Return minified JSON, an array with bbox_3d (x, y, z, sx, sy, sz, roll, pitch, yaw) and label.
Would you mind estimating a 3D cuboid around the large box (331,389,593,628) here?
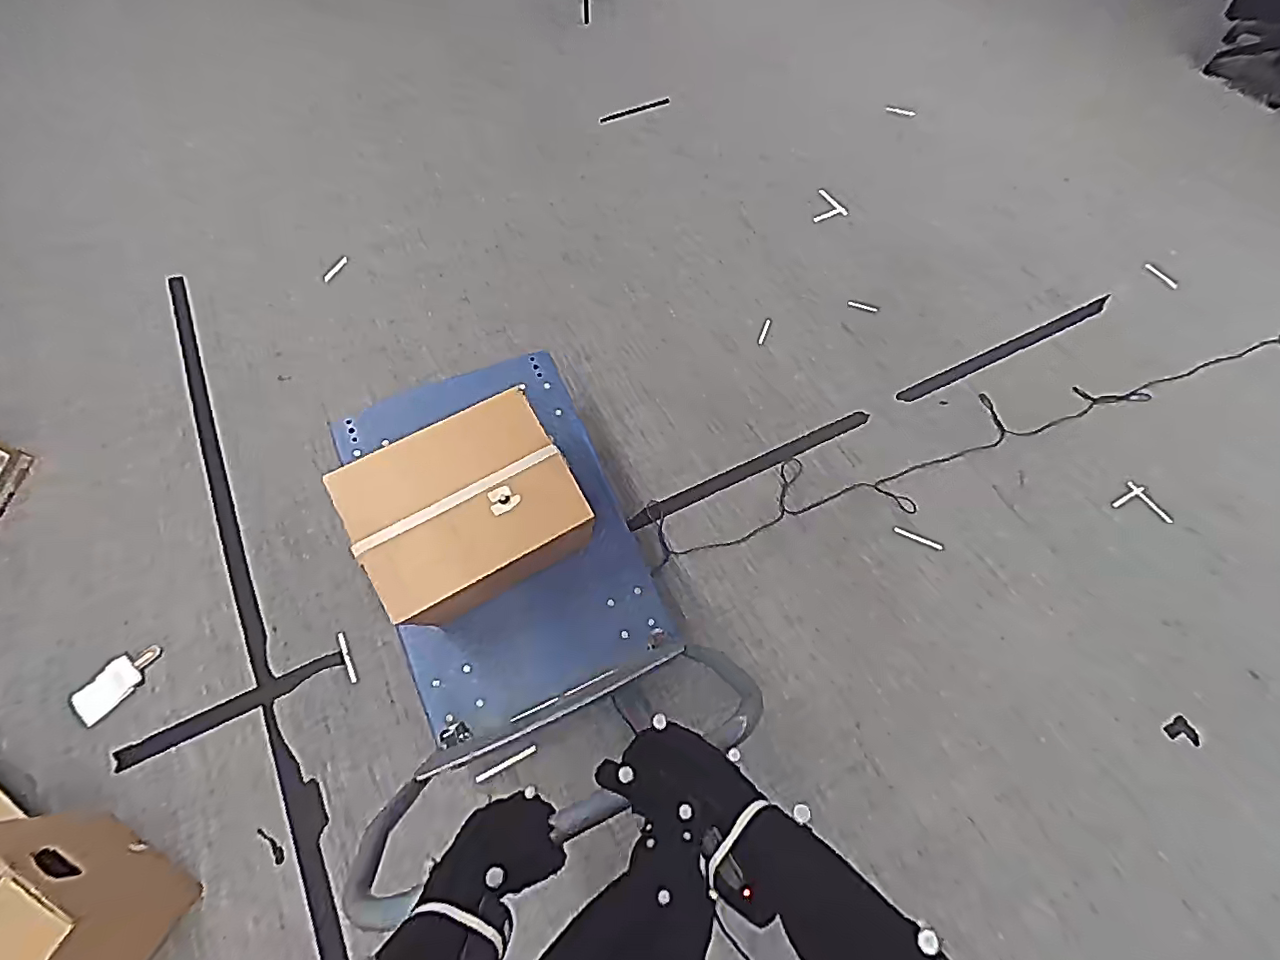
[{"bbox_3d":[-0.352,0.078,1.165,0.408,0.320,0.320,-29,80,-15],"label":"large box"}]
